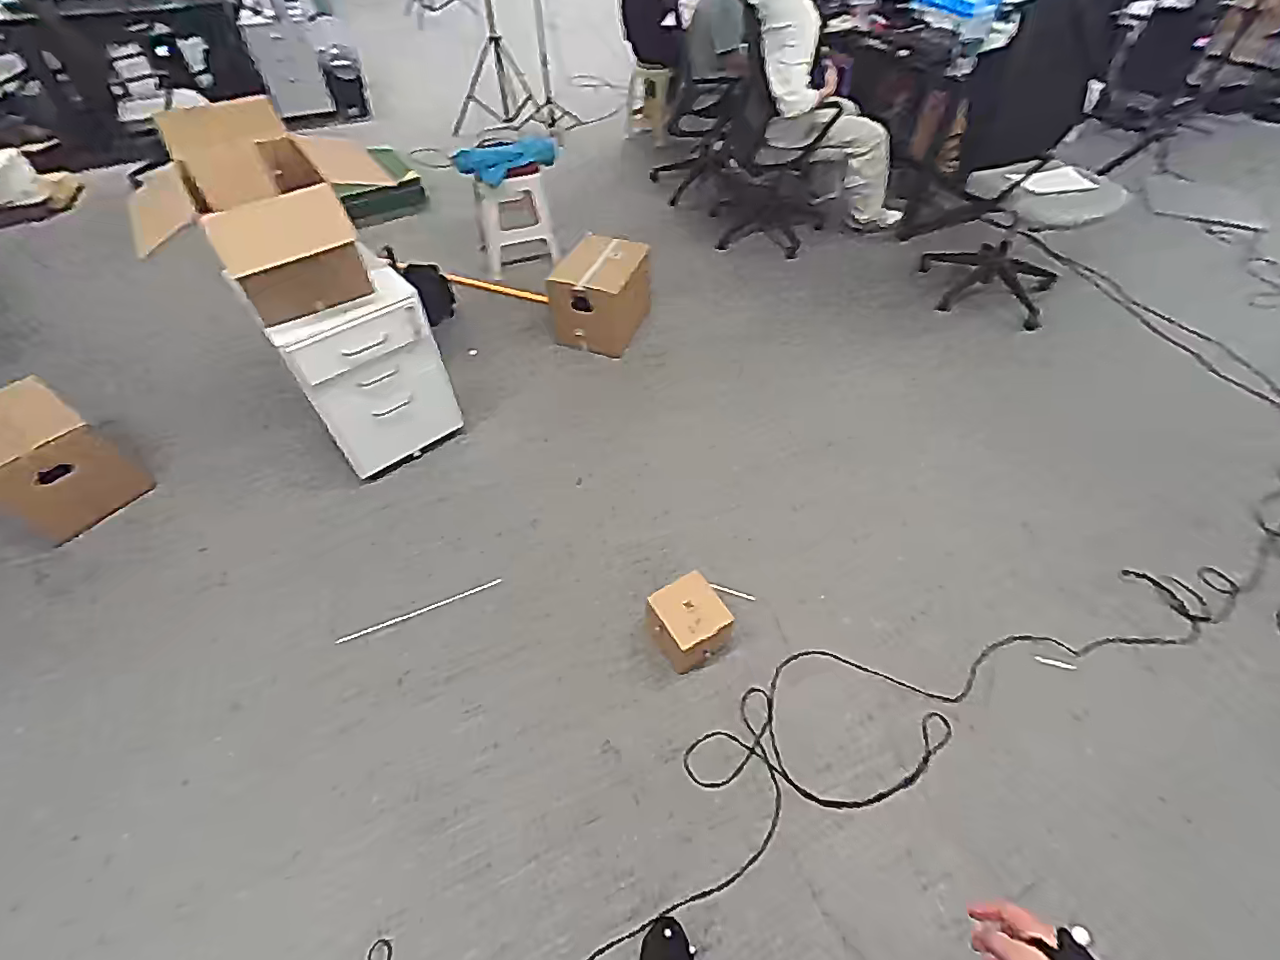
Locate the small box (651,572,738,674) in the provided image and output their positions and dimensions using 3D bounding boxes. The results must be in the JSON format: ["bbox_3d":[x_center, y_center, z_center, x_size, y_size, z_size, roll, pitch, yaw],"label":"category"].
[{"bbox_3d":[0.138,0.389,1.461,0.168,0.176,0.179,-26,55,-19],"label":"small box"}]
